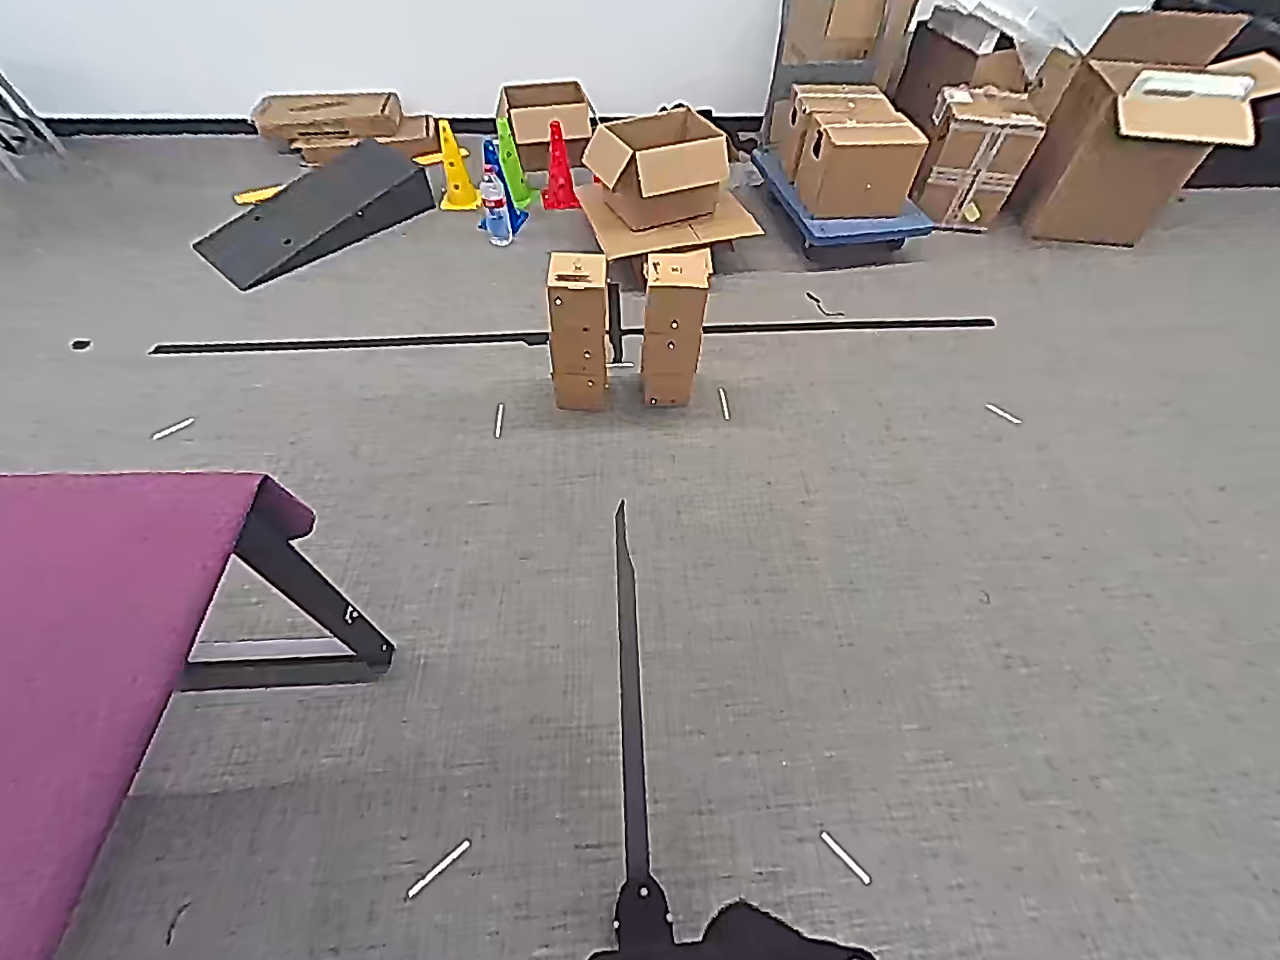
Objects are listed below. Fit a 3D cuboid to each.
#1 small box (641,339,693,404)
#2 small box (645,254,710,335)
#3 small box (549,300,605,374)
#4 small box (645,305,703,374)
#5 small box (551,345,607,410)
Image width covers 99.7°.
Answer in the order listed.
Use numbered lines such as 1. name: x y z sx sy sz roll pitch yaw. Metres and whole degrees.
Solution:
1. small box: 0.093 -0.383 1.923 0.168 0.176 0.179 -2 53 -5
2. small box: 0.110 -0.561 1.647 0.179 0.176 0.168 3 54 -2
3. small box: -0.200 -0.464 1.772 0.168 0.176 0.179 2 52 -3
4. small box: 0.105 -0.466 1.781 0.179 0.176 0.168 0 54 -3
5. small box: -0.209 -0.362 1.897 0.179 0.176 0.168 3 54 0
